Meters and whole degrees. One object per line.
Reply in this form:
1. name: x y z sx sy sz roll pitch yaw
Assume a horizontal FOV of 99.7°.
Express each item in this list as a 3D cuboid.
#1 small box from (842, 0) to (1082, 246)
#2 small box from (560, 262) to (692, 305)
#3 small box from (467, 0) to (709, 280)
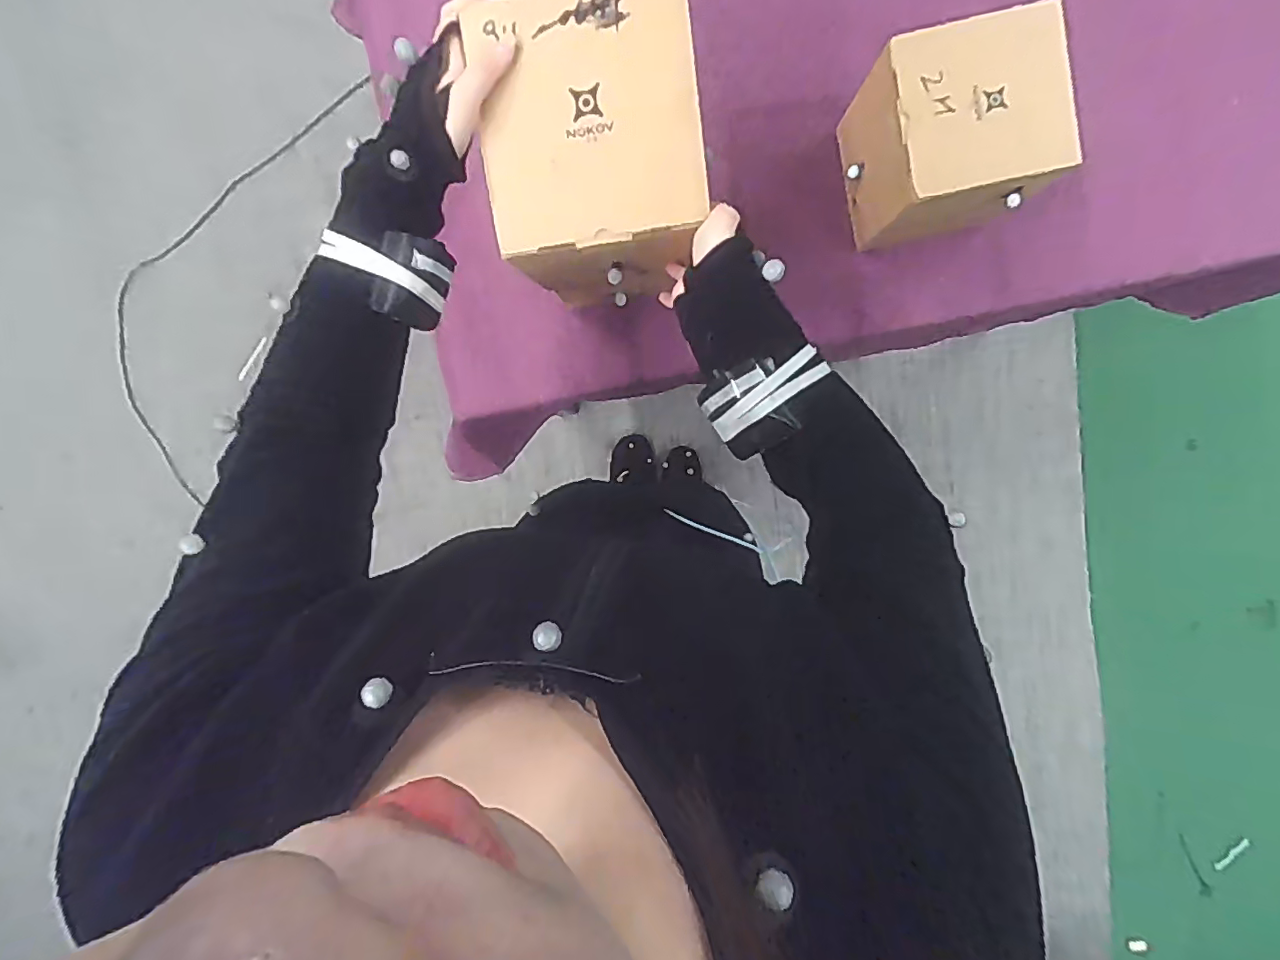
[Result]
1. small box: 0.361 -0.397 0.635 0.179 0.176 0.168 -11 95 3
2. small box: -0.031 -0.329 0.658 0.168 0.176 0.179 -9 96 3
3. small box: -0.031 -0.284 0.481 0.168 0.176 0.179 -7 101 5
